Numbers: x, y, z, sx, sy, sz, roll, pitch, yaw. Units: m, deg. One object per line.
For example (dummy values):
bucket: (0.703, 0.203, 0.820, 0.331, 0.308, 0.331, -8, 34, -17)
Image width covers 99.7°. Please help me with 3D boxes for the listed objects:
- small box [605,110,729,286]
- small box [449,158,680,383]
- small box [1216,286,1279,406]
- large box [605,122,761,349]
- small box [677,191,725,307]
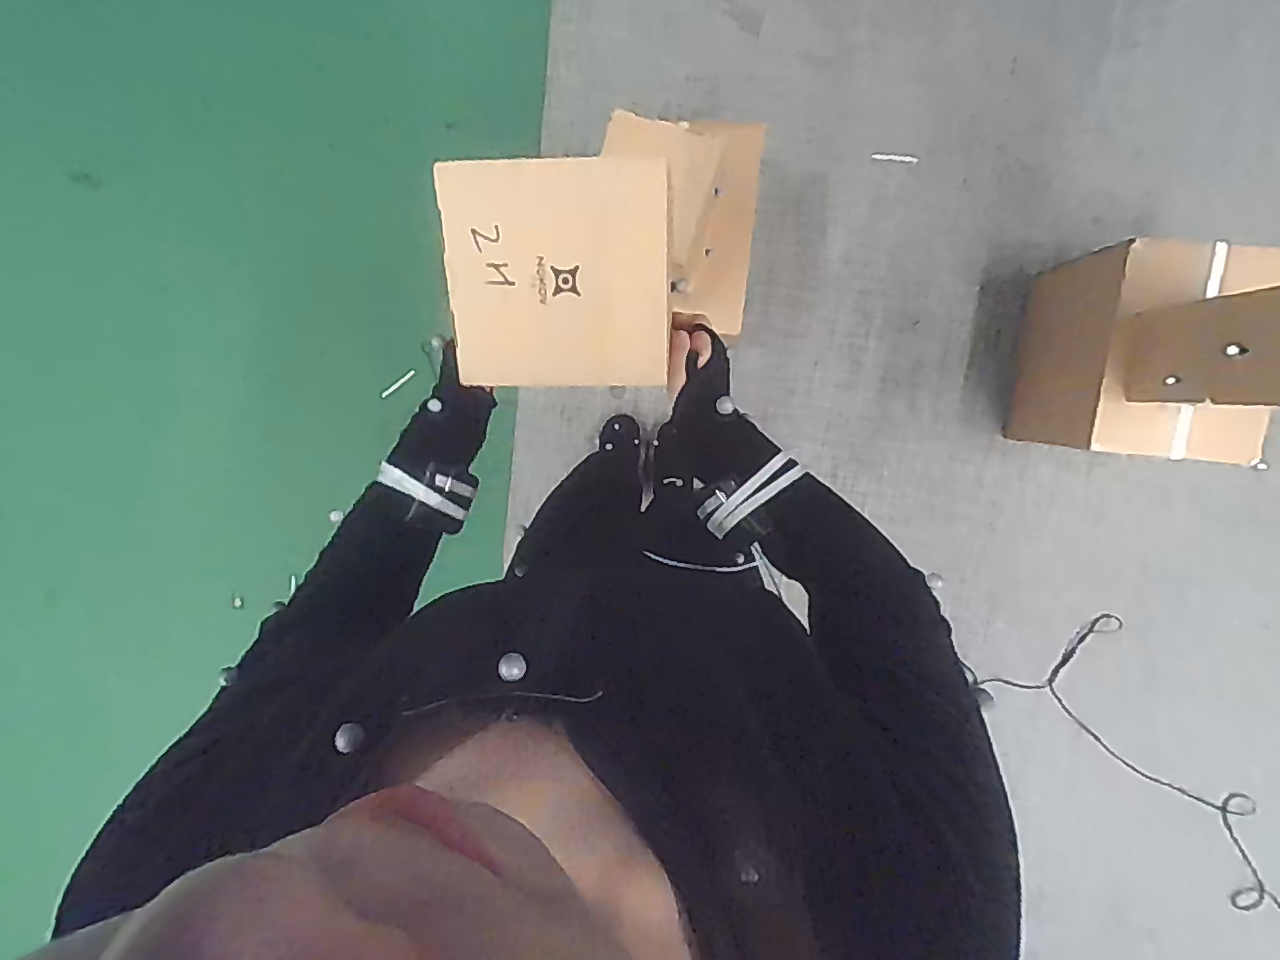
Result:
small box: (0.029, -0.429, 0.852, 0.168, 0.176, 0.179, 20, 101, 4)
small box: (-0.053, -0.188, 0.501, 0.179, 0.176, 0.168, 2, 110, 5)
small box: (1.008, -0.199, 0.788, 0.168, 0.176, 0.179, -2, 99, 7)
large box: (0.089, -0.528, 1.244, 0.320, 0.320, 0.408, 6, 98, 5)
small box: (0.052, -0.443, 1.013, 0.168, 0.176, 0.179, 17, 100, 4)
